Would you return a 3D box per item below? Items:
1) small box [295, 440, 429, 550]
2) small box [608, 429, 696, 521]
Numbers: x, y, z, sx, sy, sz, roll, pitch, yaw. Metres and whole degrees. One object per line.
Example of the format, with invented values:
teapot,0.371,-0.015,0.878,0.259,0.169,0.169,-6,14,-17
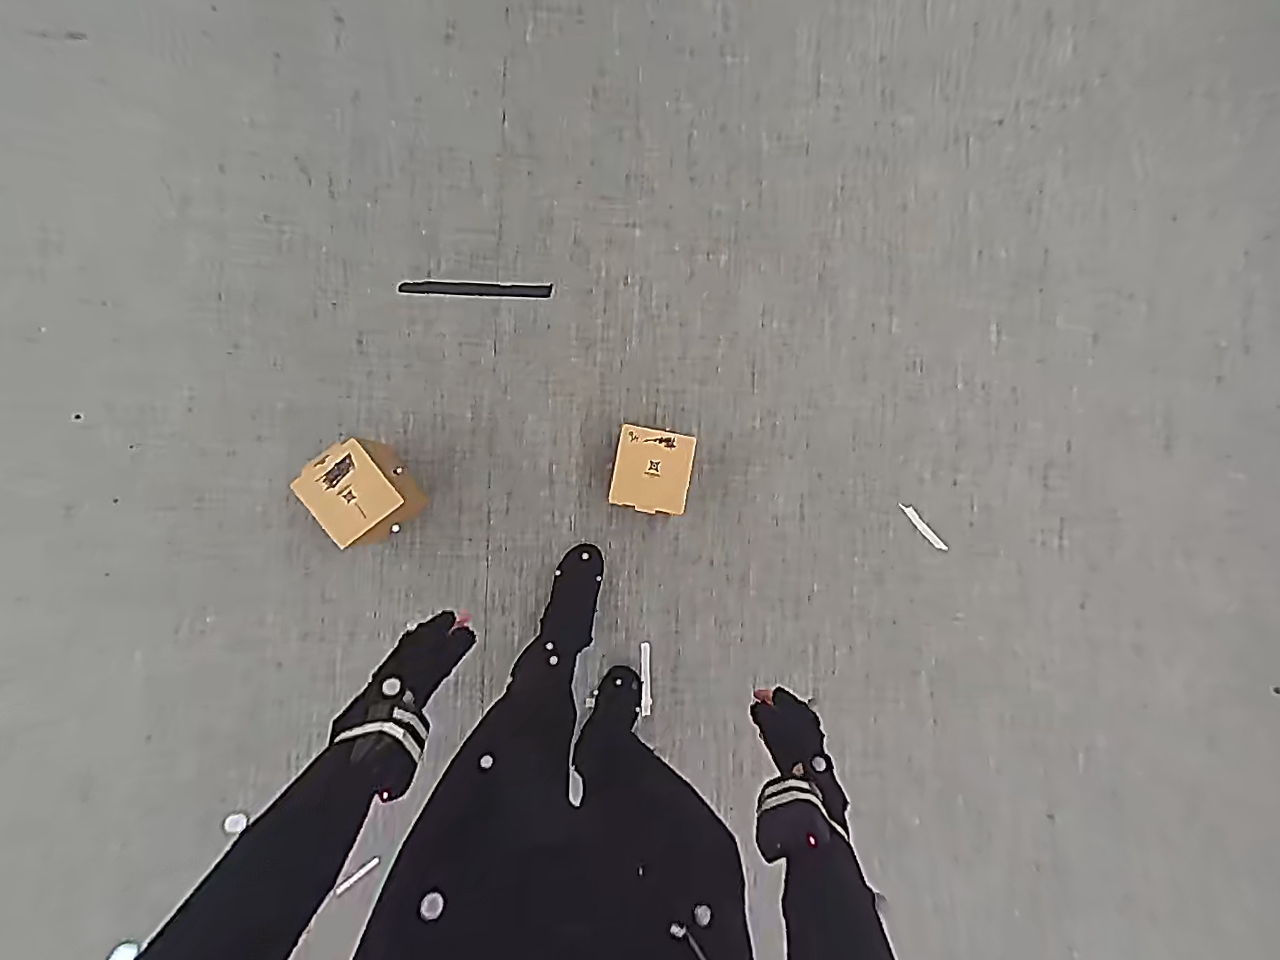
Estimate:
small box,-0.606,0.036,1.202,0.168,0.176,0.179,-37,91,-4
small box,0.023,-0.009,1.246,0.168,0.176,0.179,11,88,-4
